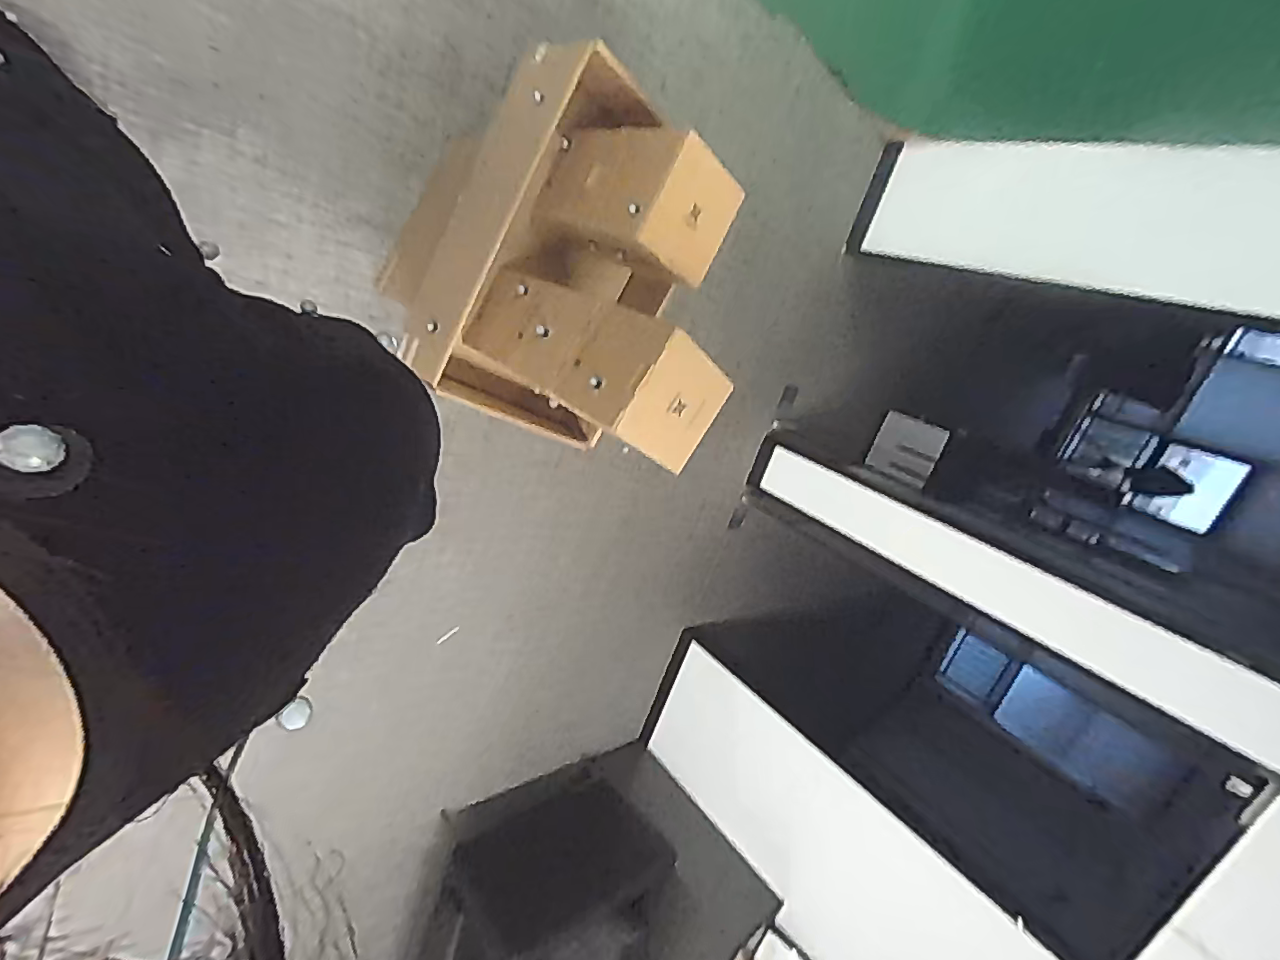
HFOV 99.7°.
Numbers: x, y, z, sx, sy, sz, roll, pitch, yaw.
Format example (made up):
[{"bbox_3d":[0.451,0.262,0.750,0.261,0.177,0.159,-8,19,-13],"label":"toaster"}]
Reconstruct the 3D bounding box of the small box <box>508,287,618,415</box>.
[{"bbox_3d":[-0.094,-0.212,0.931,0.179,0.176,0.168,28,95,-48],"label":"small box"}]

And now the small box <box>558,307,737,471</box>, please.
[{"bbox_3d":[0.008,-0.142,0.823,0.179,0.176,0.168,30,94,-50],"label":"small box"}]

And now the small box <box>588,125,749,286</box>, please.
[{"bbox_3d":[0.042,-0.458,0.901,0.168,0.176,0.179,17,105,-48],"label":"small box"}]
